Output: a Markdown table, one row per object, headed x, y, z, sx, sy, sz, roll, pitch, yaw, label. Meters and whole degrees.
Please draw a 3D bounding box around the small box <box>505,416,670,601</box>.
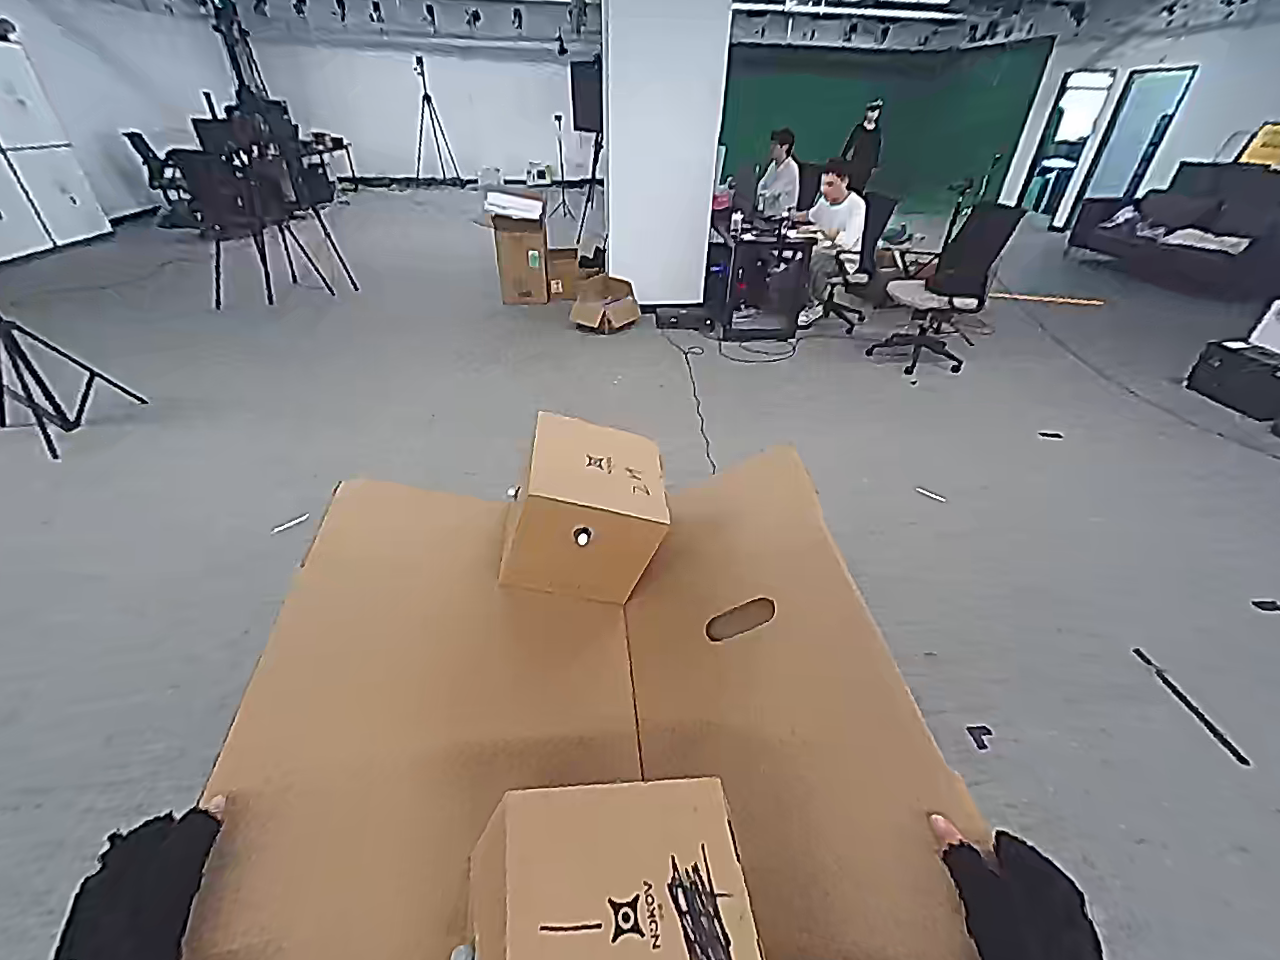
| x | y | z | sx | sy | sz | roll | pitch | yaw | label |
| --- | --- | --- | --- | --- | --- | --- | --- | --- | --- |
| -0.076 | 0.044 | 0.736 | 0.179 | 0.176 | 0.168 | 15 | 39 | -16 | small box |
